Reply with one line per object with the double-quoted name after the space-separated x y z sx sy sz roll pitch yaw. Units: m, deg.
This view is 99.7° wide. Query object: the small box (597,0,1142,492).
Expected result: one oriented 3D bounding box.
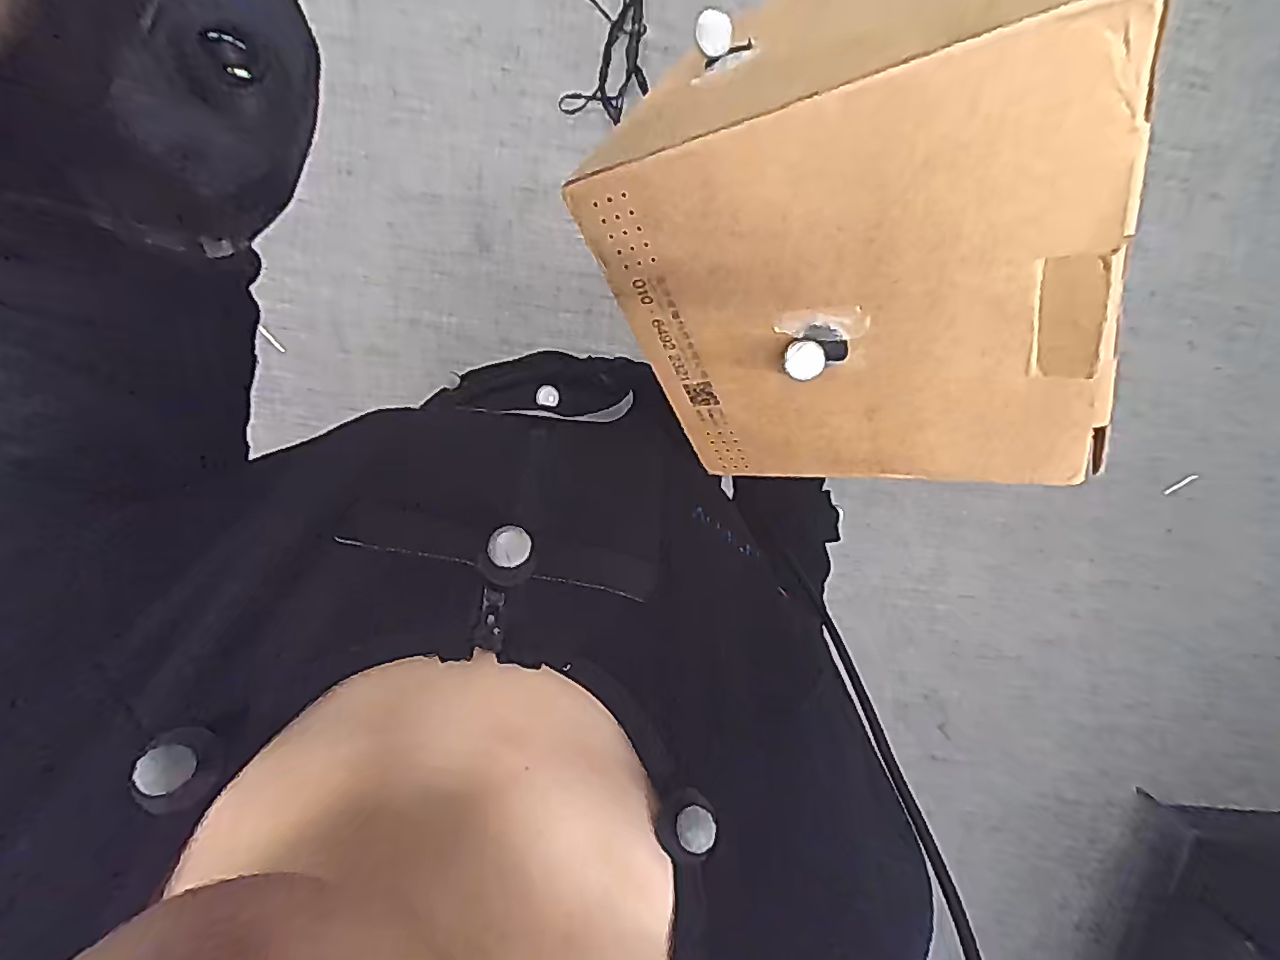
0.103 -0.113 0.251 0.176 0.179 0.168 3 141 35 "small box"
